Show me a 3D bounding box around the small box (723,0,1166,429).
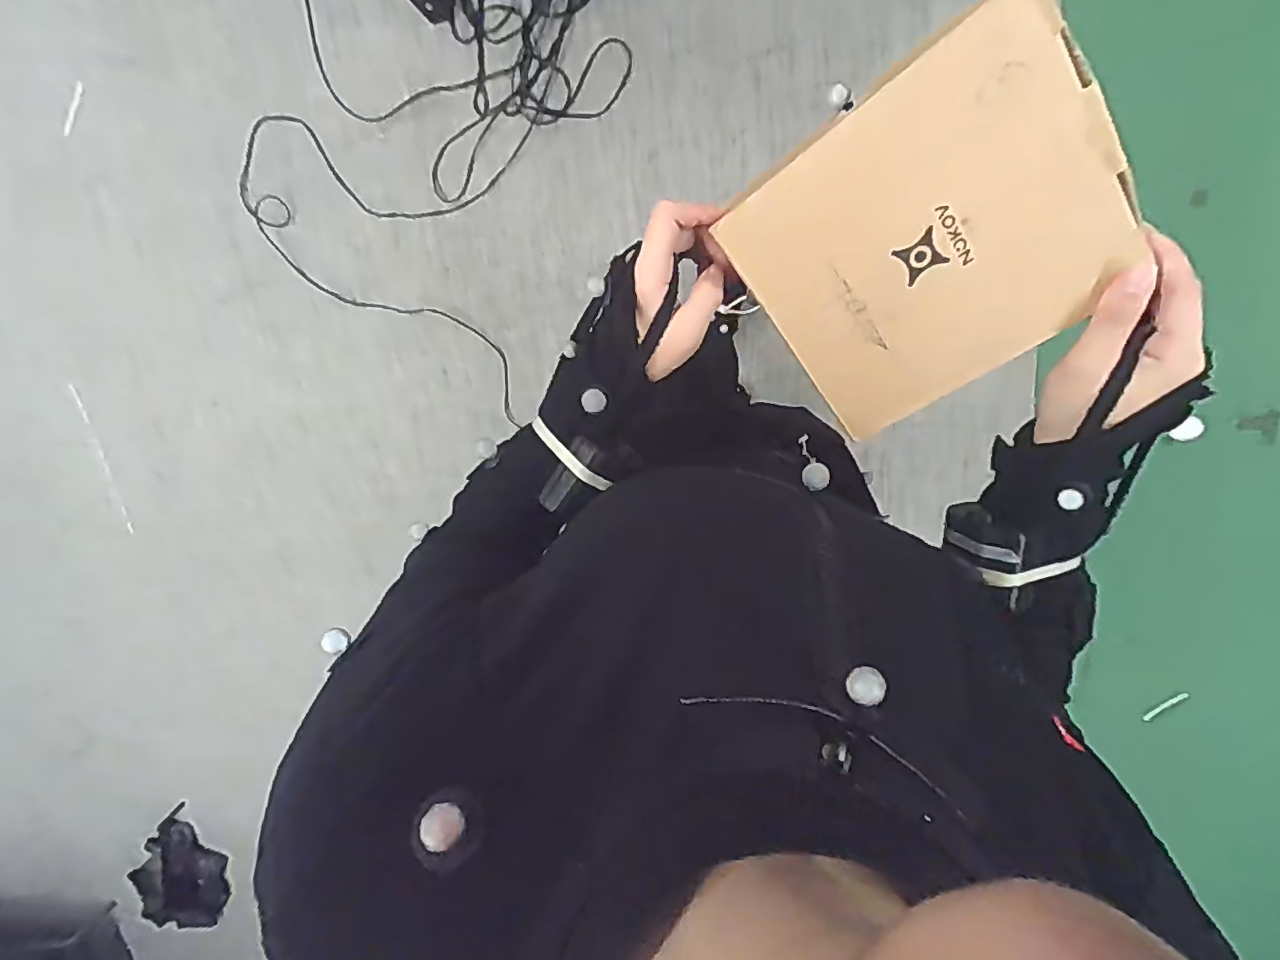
[{"bbox_3d":[0.173,-0.172,0.363,0.179,0.176,0.168,-33,108,26],"label":"small box"}]
